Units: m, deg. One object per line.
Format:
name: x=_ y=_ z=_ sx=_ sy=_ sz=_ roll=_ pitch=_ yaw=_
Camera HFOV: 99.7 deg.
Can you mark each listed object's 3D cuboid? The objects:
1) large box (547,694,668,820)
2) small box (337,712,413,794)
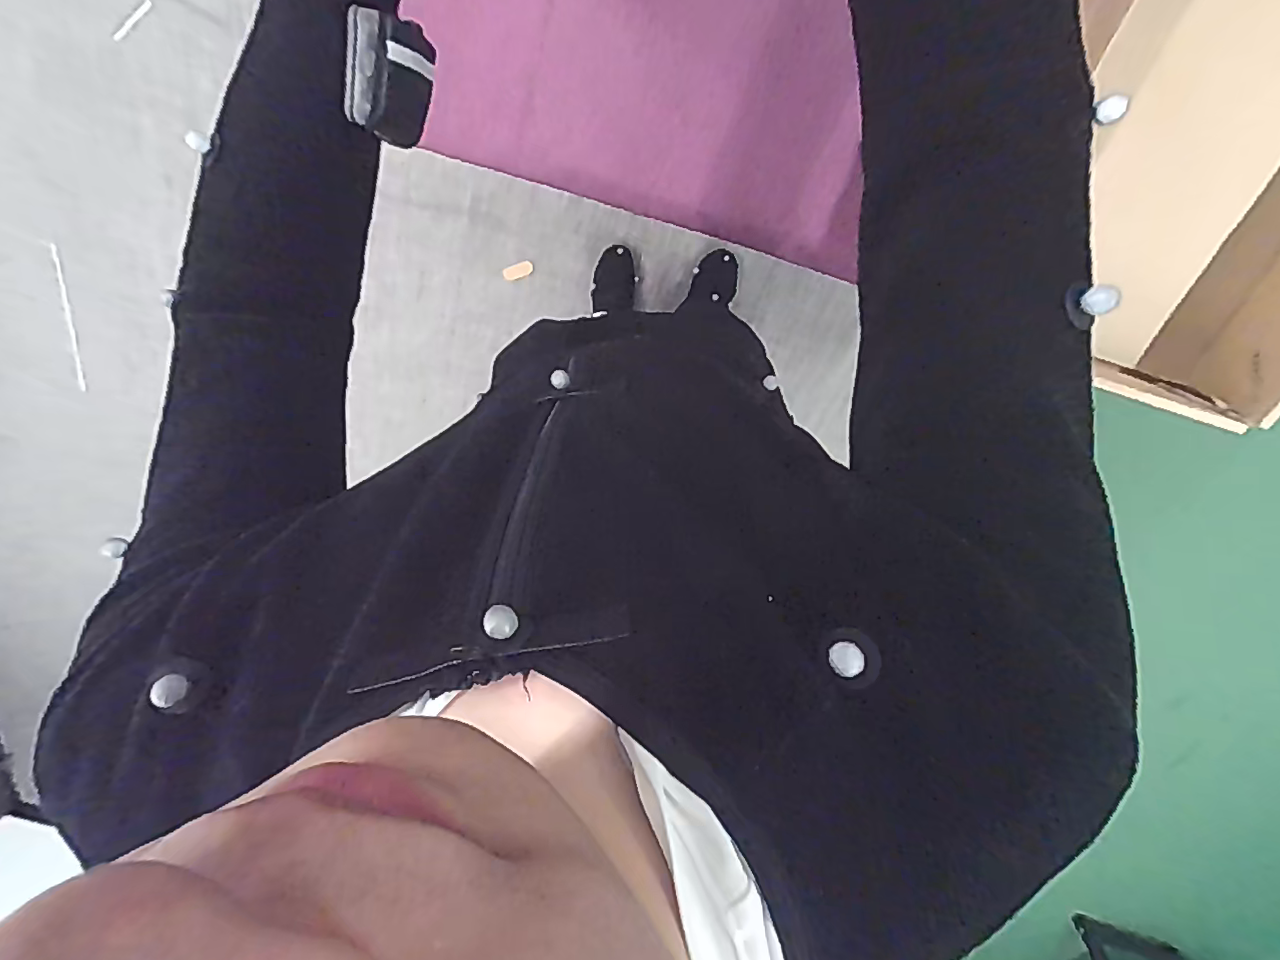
large box: x=-0.114 y=1.110 z=2.179 sx=0.408 sy=0.320 sz=0.320 roll=-11 pitch=117 yaw=10
small box: x=-0.919 y=0.948 z=1.889 sx=0.168 sy=0.176 sz=0.179 roll=24 pitch=115 yaw=-7
